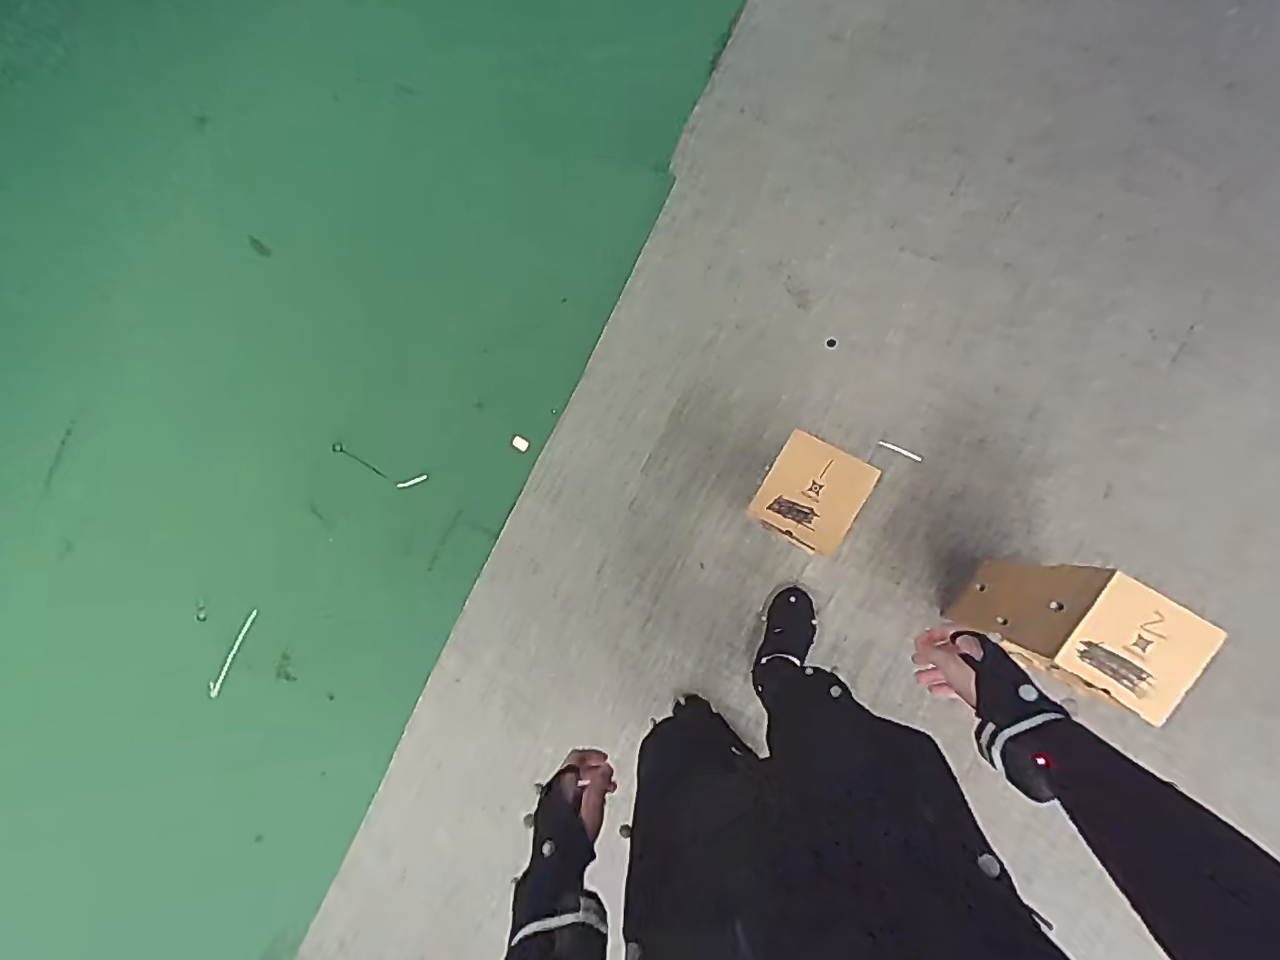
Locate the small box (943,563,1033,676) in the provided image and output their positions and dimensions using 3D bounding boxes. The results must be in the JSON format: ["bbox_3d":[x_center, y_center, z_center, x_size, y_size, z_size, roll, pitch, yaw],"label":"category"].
[{"bbox_3d":[0.821,0.302,1.213,0.168,0.176,0.179,38,94,15],"label":"small box"}]

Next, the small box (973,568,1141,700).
[{"bbox_3d":[0.794,0.286,1.056,0.168,0.176,0.179,32,92,13],"label":"small box"}]

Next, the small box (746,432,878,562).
[{"bbox_3d":[0.317,0.036,1.018,0.168,0.176,0.179,30,91,14],"label":"small box"}]

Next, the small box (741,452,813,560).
[{"bbox_3d":[0.341,0.055,1.180,0.168,0.176,0.179,31,93,14],"label":"small box"}]
